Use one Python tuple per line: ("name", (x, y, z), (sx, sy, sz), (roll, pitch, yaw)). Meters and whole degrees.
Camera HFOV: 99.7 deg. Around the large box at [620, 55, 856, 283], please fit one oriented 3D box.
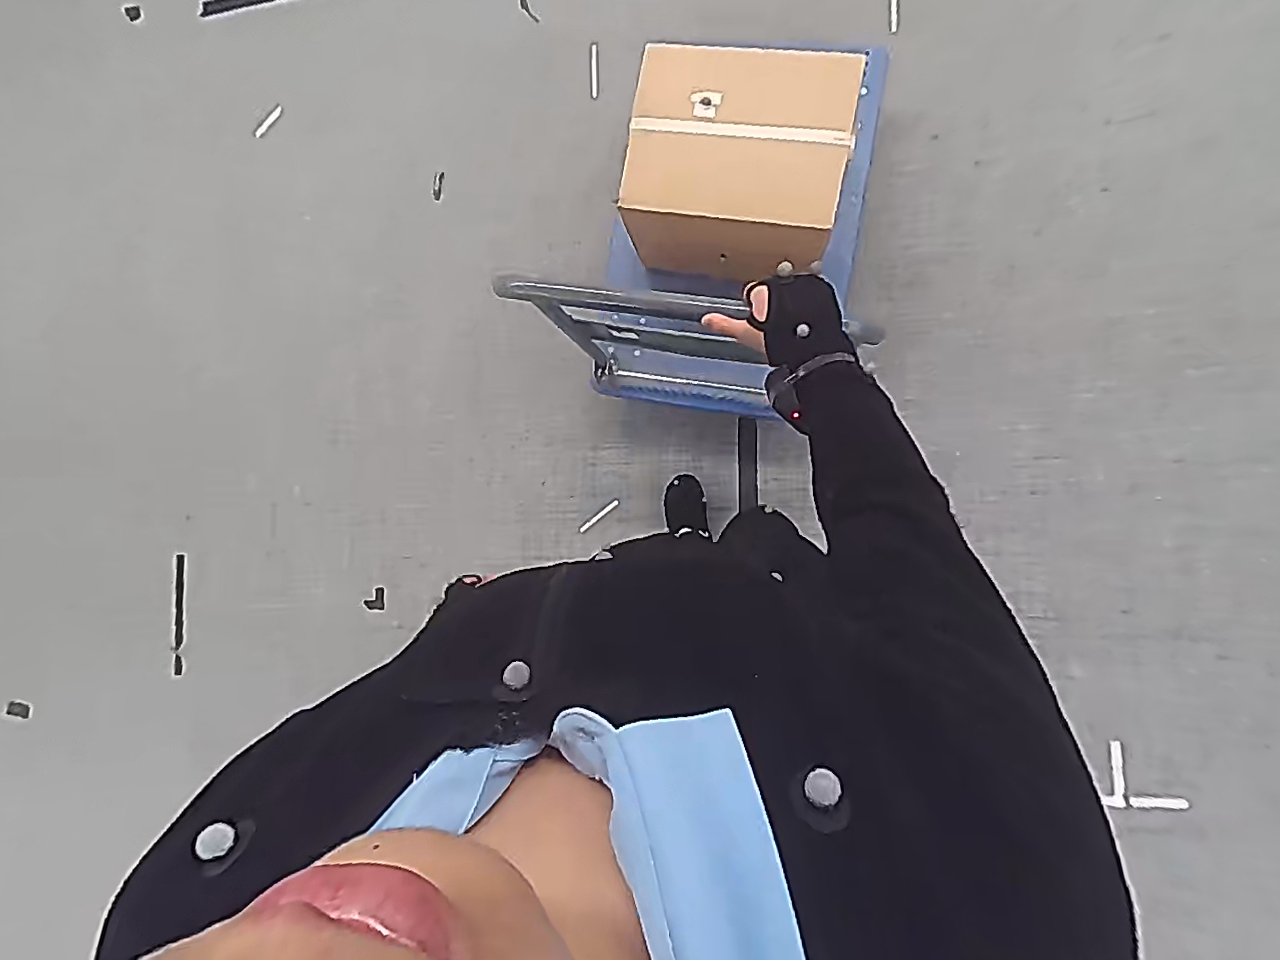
("large box", (0.206, -0.639, 1.157), (0.408, 0.320, 0.320), (10, 91, 11))
